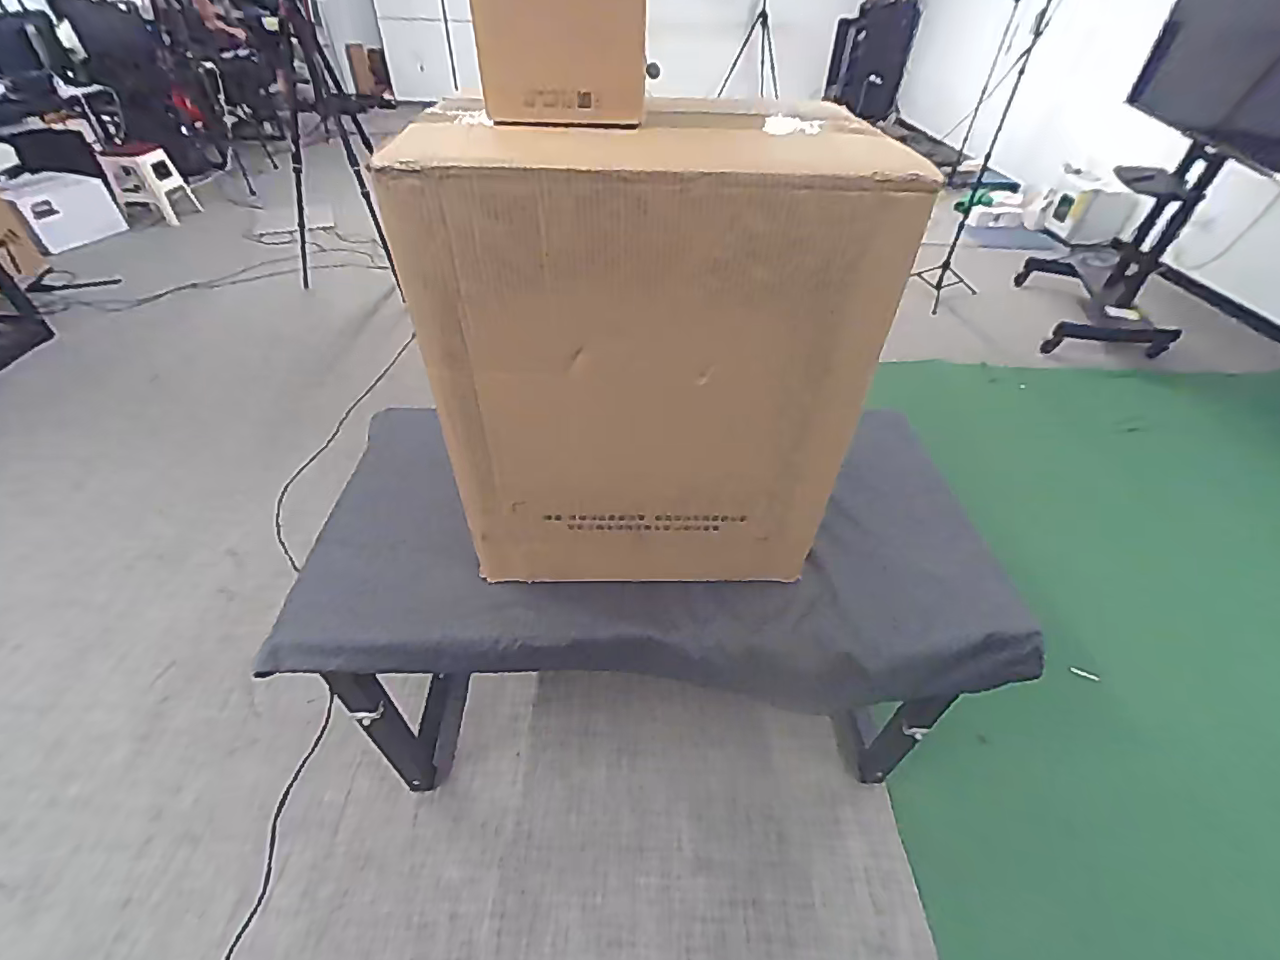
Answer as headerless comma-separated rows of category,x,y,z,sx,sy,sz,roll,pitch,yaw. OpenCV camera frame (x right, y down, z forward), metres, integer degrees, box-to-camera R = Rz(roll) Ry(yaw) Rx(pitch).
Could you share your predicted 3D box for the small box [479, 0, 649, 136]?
small box,-0.074,-0.488,0.585,0.168,0.176,0.179,1,41,0
